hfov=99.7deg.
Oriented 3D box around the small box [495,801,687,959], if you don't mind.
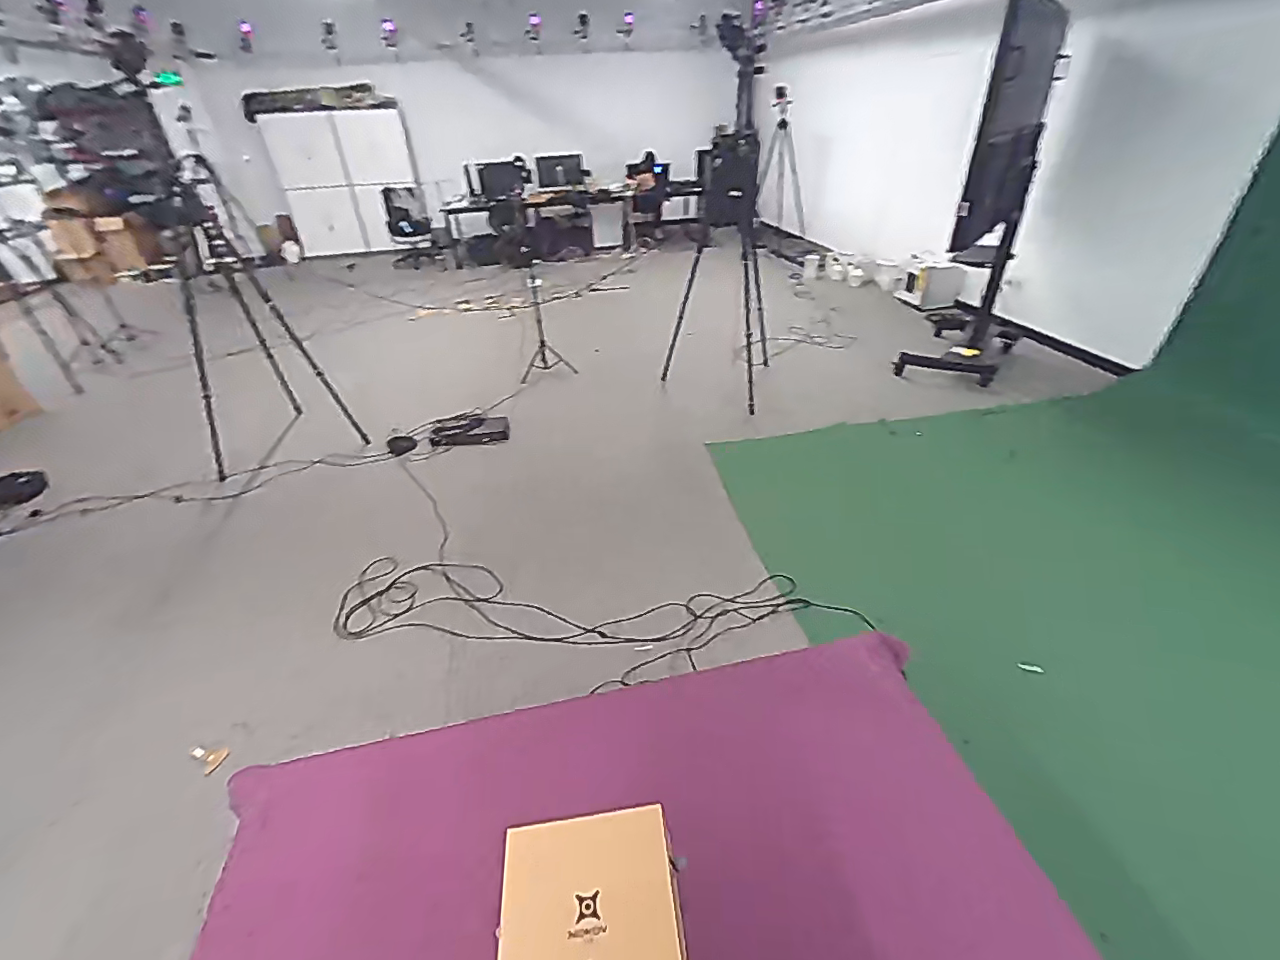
[{"bbox_3d":[-0.041,0.460,0.545,0.168,0.176,0.179,-9,38,0],"label":"small box"}]
